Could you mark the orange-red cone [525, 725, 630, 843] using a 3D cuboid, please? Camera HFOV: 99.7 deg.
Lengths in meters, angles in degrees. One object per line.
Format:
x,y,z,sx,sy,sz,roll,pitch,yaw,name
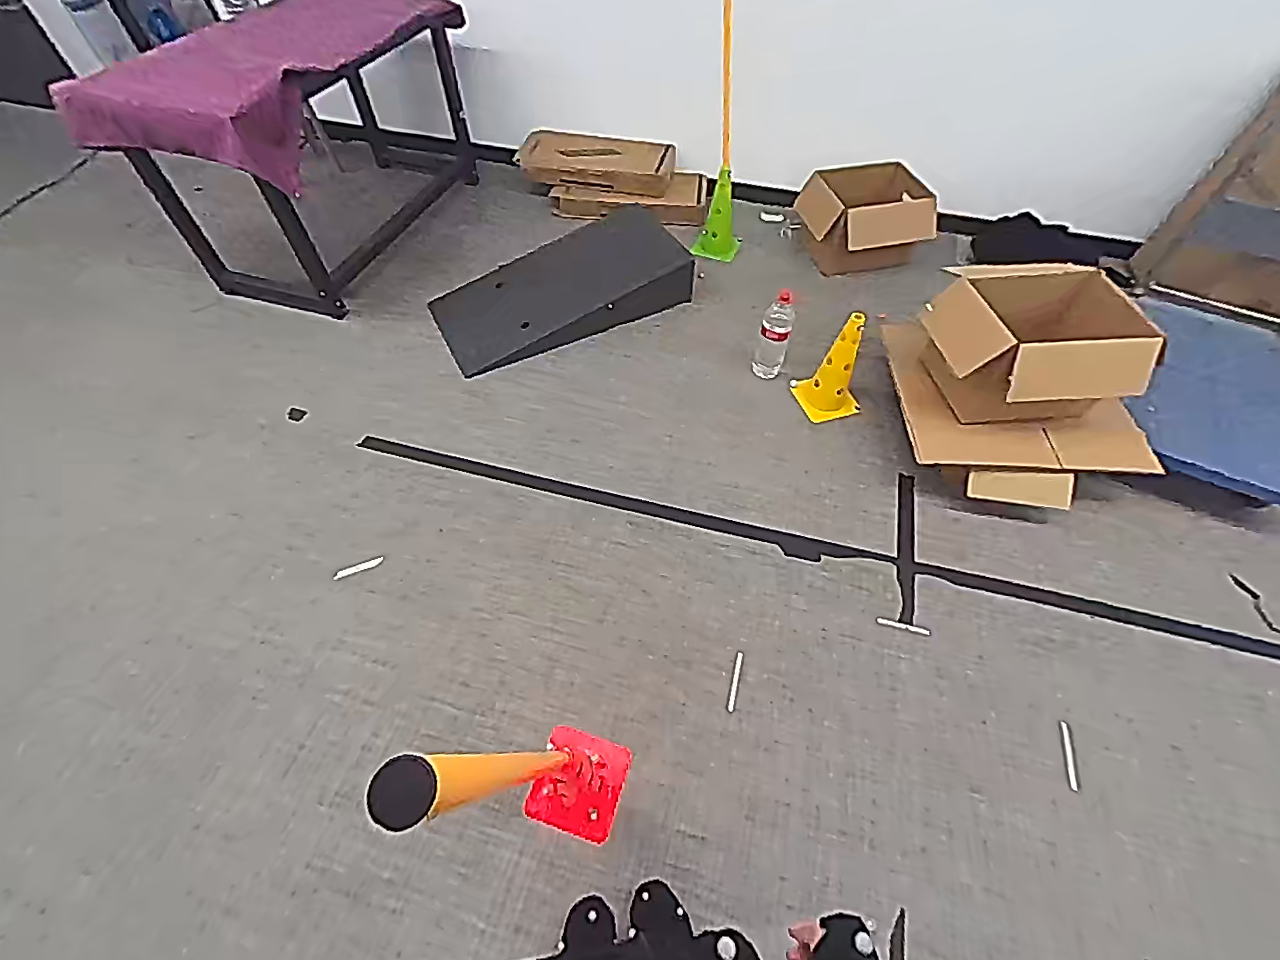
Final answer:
-0.136,0.581,1.083,0.198,0.360,0.199,16,55,10,orange-red cone
